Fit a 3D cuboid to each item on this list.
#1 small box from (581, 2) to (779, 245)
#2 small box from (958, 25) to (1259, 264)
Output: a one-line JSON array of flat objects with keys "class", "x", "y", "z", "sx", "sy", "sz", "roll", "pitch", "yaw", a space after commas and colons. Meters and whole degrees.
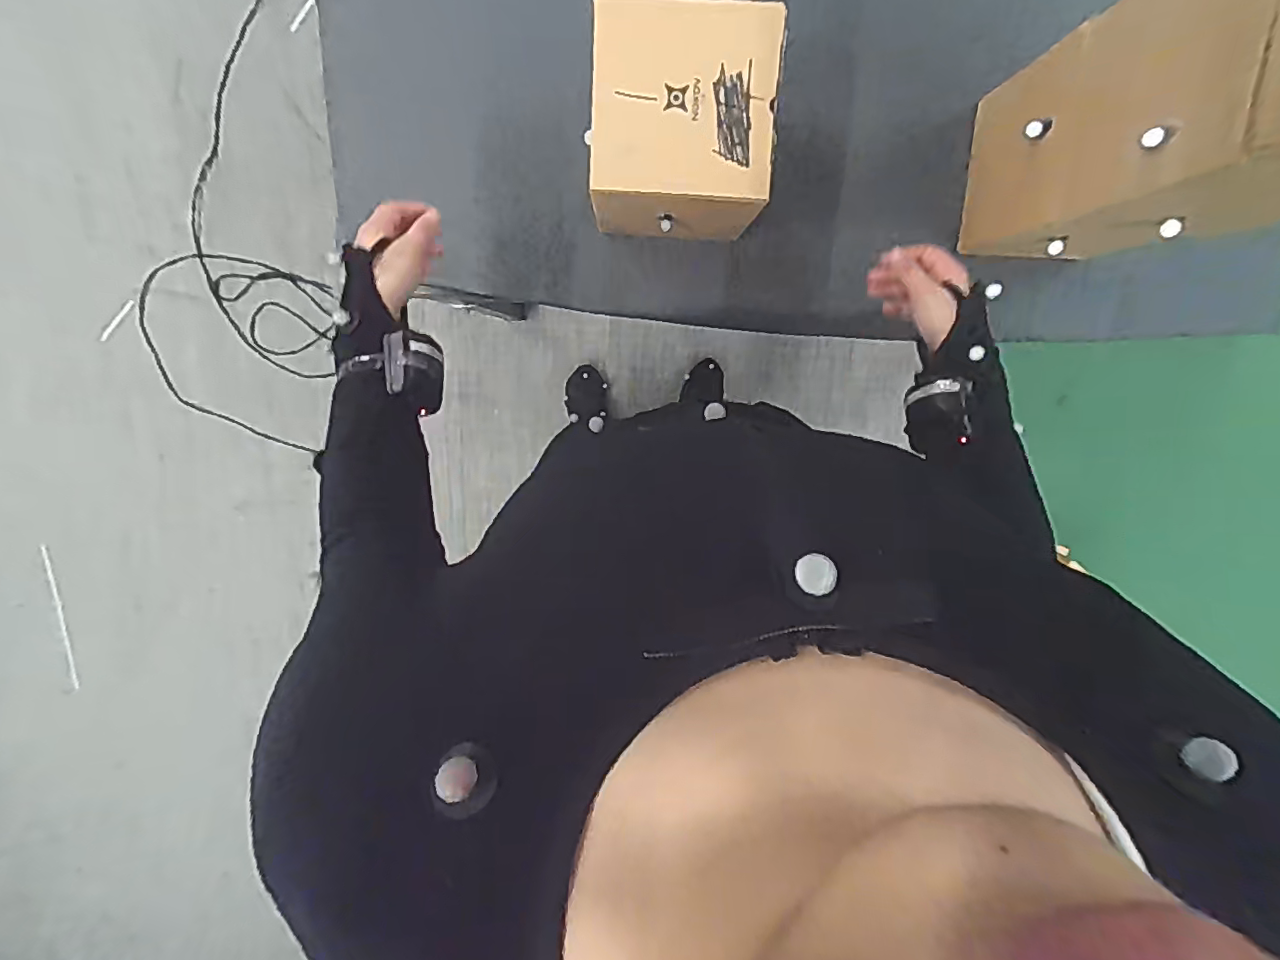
[{"class": "small box", "x": 0.034, "y": -0.359, "z": 0.579, "sx": 0.179, "sy": 0.176, "sz": 0.168, "roll": 3, "pitch": 102, "yaw": 0}, {"class": "small box", "x": 0.479, "y": -0.341, "z": 0.586, "sx": 0.168, "sy": 0.176, "sz": 0.179, "roll": 2, "pitch": 101, "yaw": -1}]
